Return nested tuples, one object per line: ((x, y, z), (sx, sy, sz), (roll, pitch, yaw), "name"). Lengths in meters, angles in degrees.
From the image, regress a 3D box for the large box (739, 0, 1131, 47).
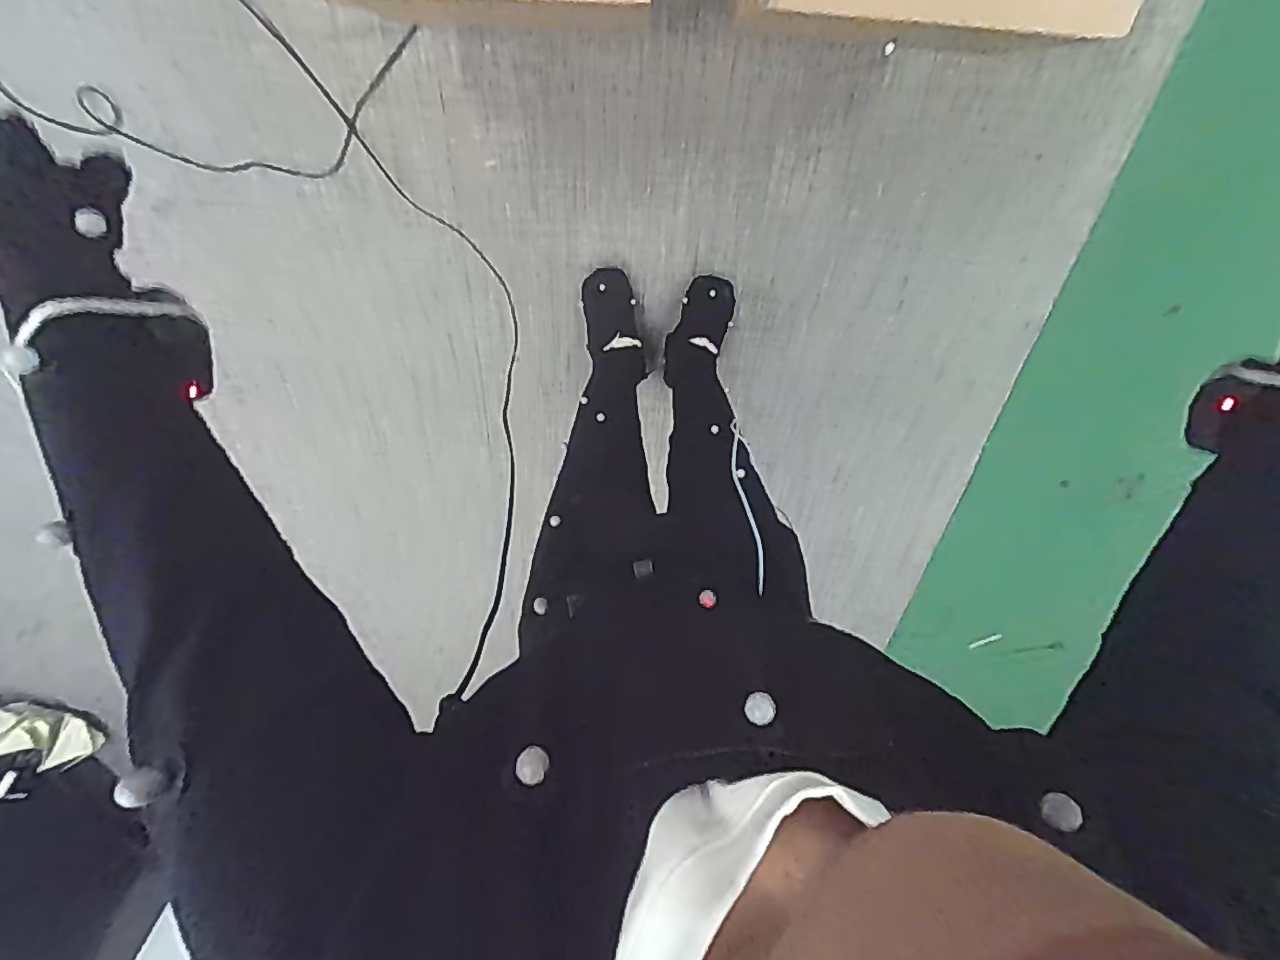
((0.357, -0.724, 0.639), (0.408, 0.320, 0.320), (4, 126, -1), "large box")
